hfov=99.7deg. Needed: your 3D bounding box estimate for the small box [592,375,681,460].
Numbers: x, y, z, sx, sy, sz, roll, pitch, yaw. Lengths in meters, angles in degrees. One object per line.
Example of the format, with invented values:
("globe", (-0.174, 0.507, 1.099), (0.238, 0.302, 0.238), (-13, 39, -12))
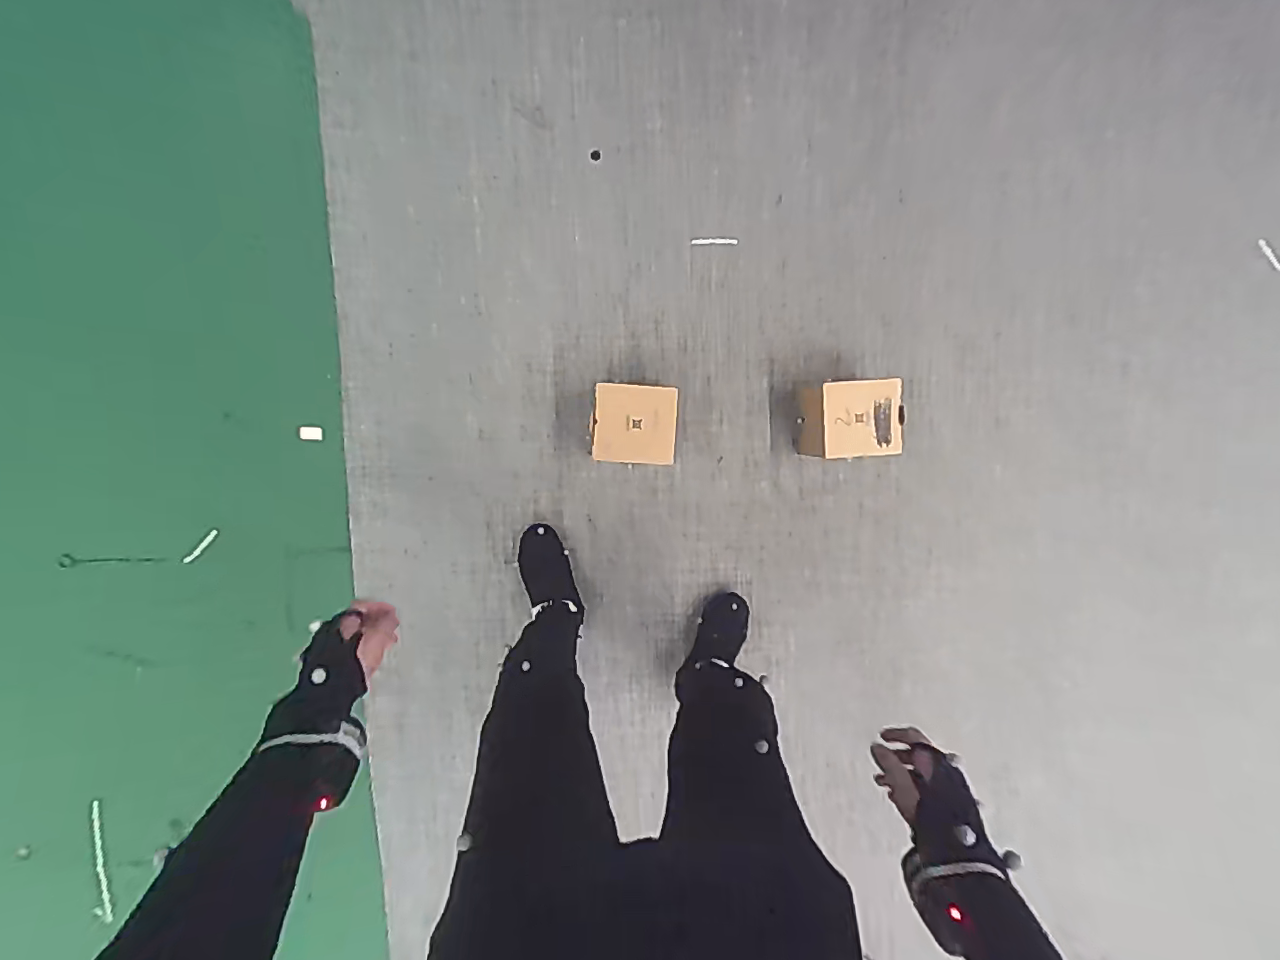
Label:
("small box", (-0.012, -0.137, 1.217), (0.179, 0.176, 0.168), (5, 96, -4))
